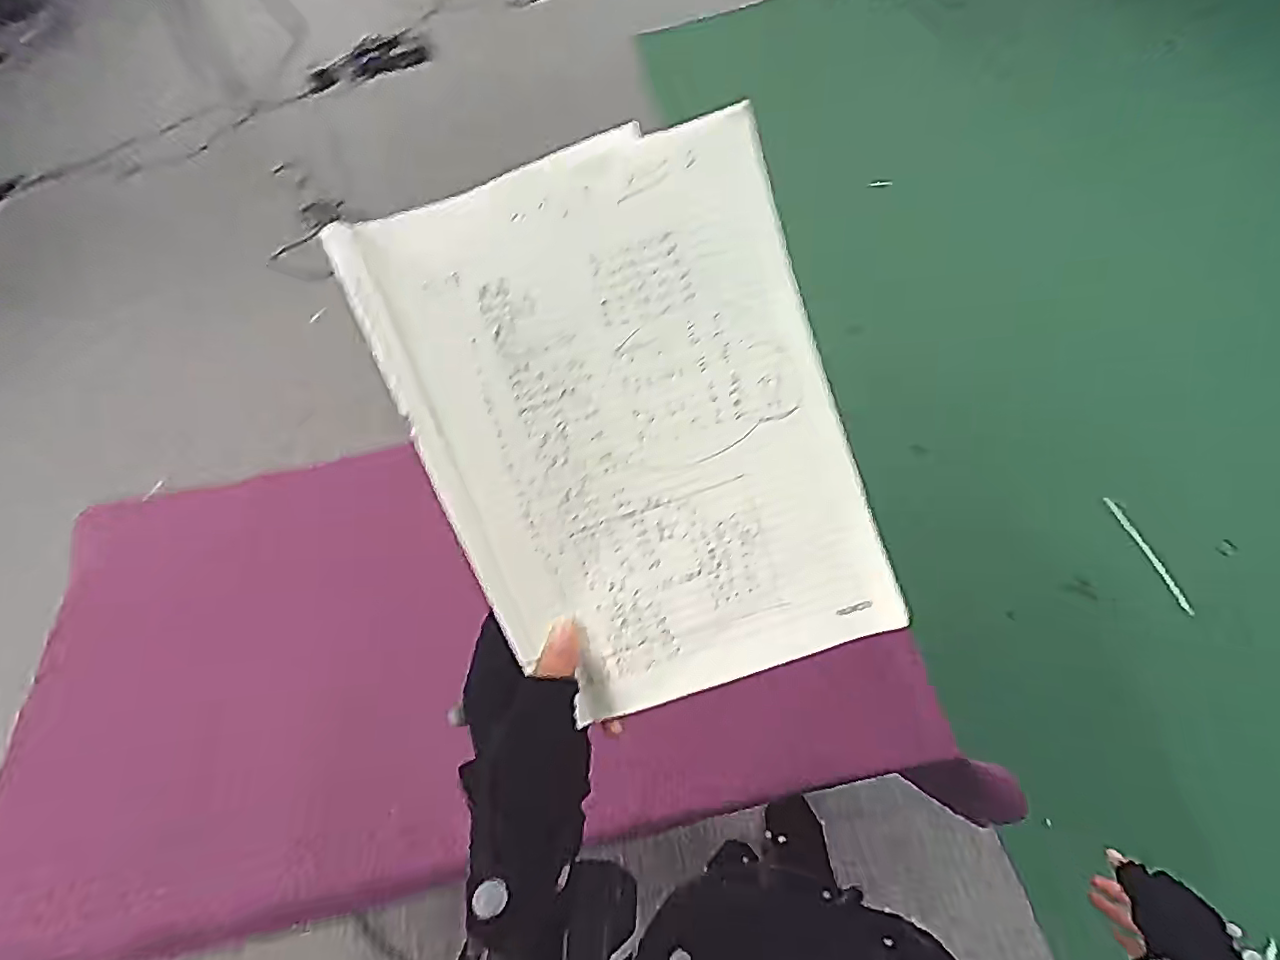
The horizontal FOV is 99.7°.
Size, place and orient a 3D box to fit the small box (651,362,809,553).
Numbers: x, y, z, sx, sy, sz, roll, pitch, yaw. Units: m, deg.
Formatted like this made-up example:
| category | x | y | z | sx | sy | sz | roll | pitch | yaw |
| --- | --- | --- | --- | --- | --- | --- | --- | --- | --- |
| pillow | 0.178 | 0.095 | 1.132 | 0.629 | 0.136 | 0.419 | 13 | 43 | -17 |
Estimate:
| category | x | y | z | sx | sy | sz | roll | pitch | yaw |
| --- | --- | --- | --- | --- | --- | --- | --- | --- | --- |
| small box | 0.110 | -0.024 | 0.711 | 0.168 | 0.176 | 0.179 | -9 | 60 | 4 |
